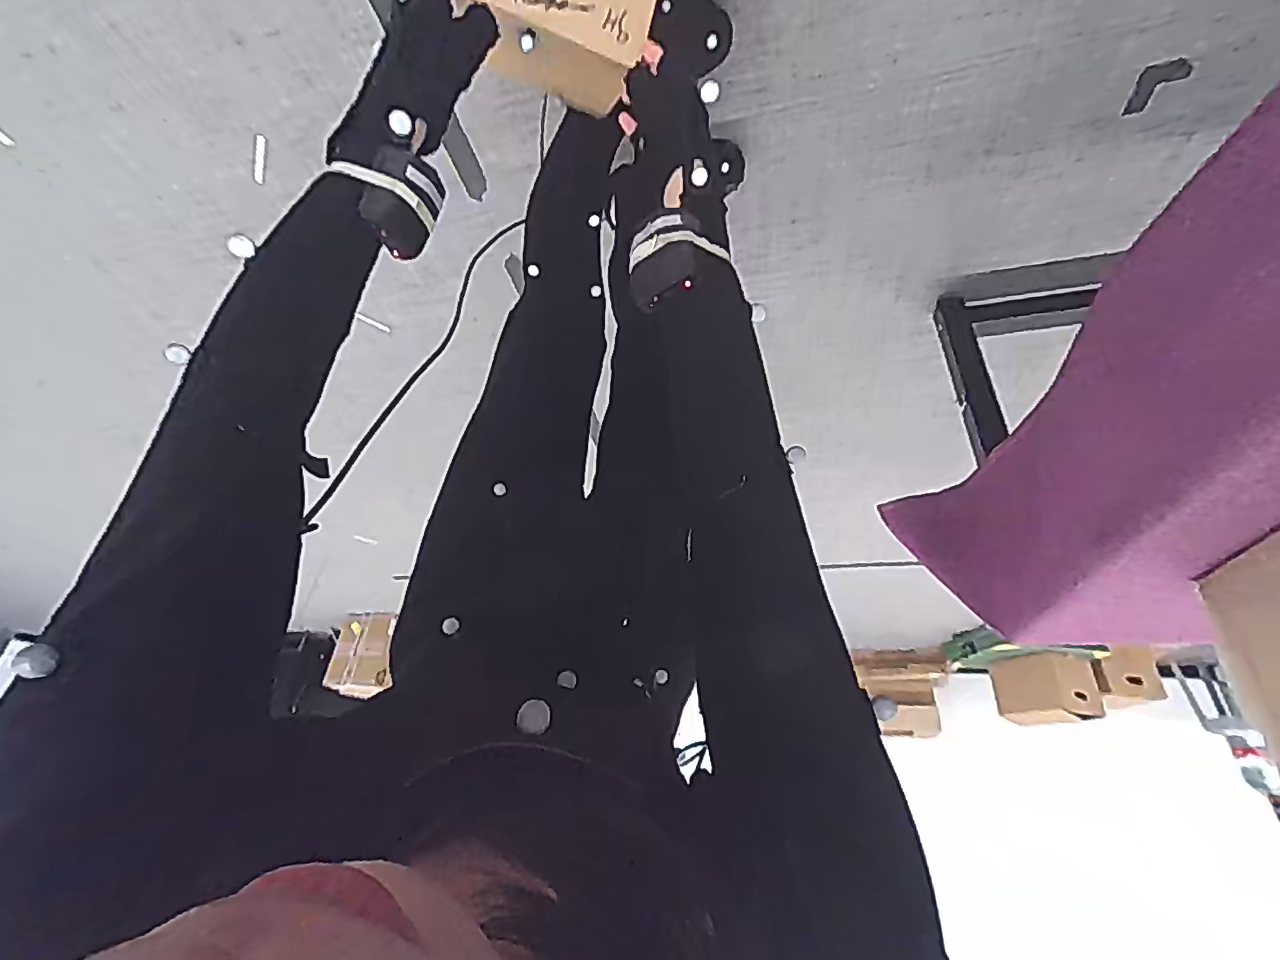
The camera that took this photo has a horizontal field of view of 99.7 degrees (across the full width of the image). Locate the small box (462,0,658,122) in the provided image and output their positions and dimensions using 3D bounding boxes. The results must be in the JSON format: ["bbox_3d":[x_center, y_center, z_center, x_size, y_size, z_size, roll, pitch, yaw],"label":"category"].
[{"bbox_3d":[-0.071,-0.487,0.513,0.168,0.179,0.176,12,-167,-18],"label":"small box"}]
